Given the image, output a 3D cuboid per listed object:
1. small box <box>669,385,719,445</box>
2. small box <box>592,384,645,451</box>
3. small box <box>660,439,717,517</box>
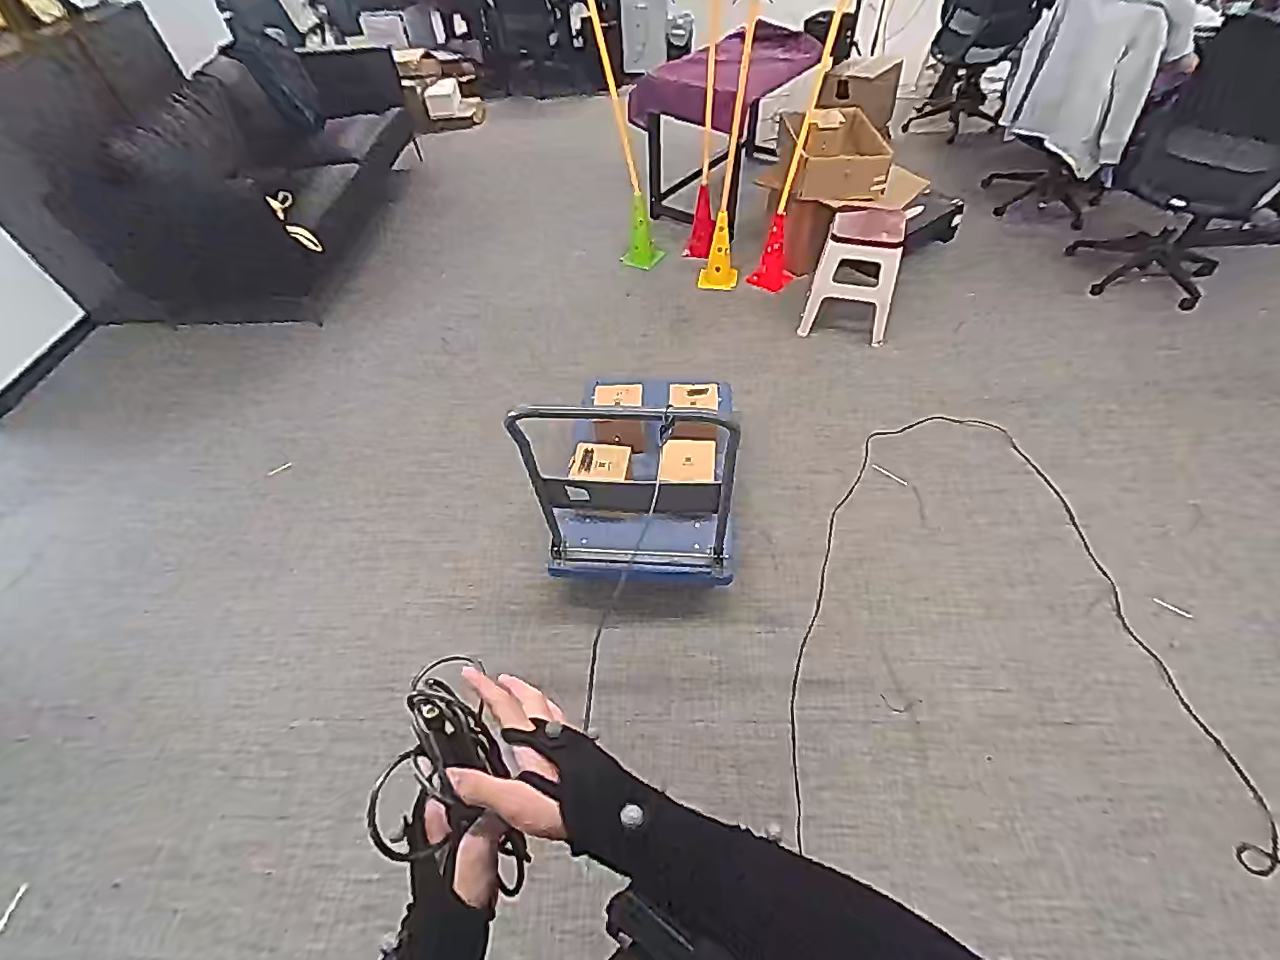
[{"bbox_3d":[0.187,-0.211,1.873,0.168,0.176,0.179,1,52,6],"label":"small box"},{"bbox_3d":[-0.069,-0.214,1.896,0.168,0.176,0.179,0,52,3],"label":"small box"},{"bbox_3d":[0.152,-0.006,1.716,0.168,0.176,0.179,4,54,7],"label":"small box"}]
